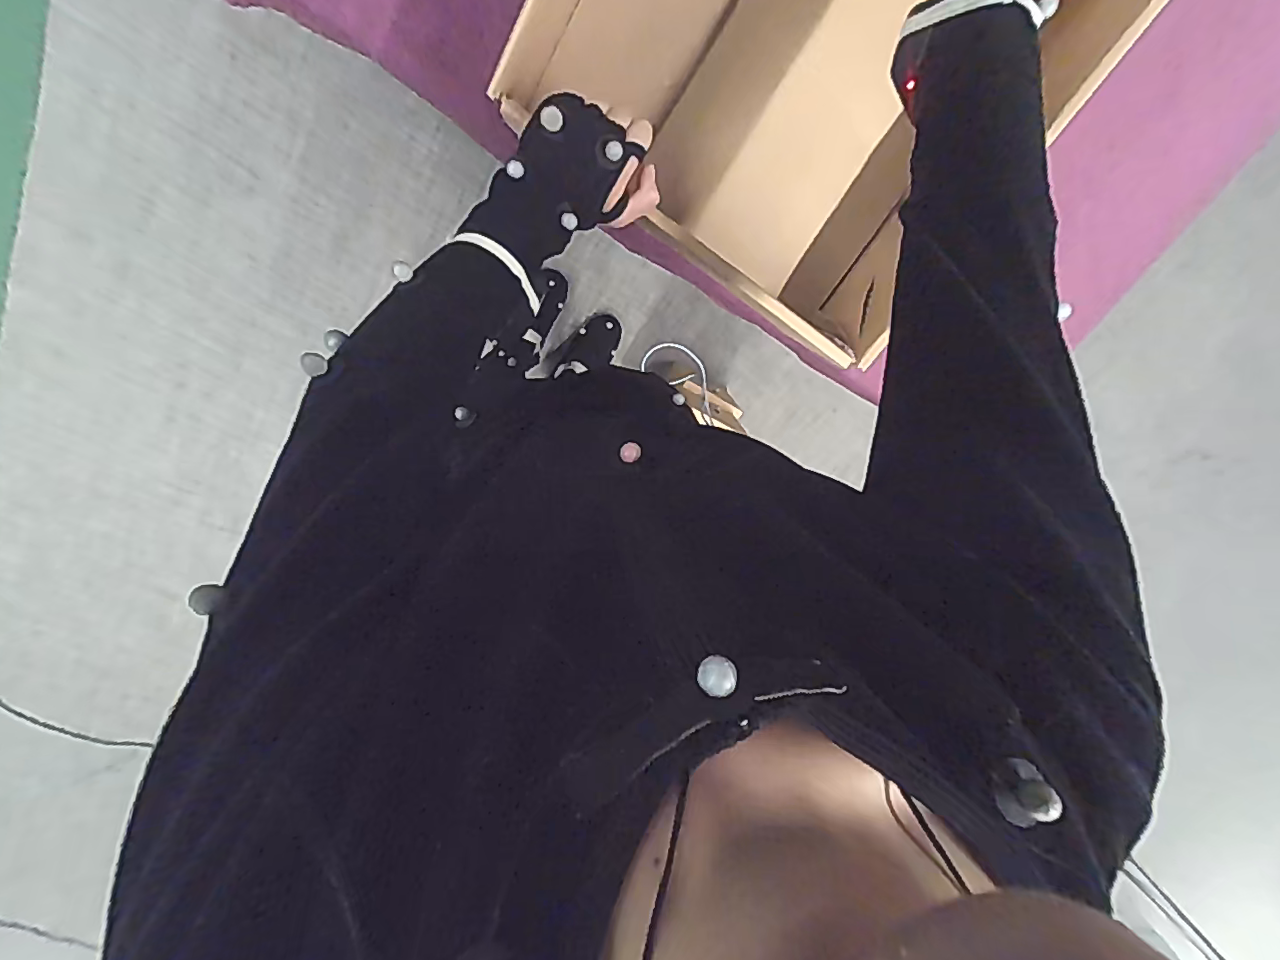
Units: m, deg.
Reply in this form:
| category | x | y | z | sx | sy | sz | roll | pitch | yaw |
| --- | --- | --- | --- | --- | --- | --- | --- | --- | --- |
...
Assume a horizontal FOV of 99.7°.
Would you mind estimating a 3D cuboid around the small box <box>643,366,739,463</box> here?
| category | x | y | z | sx | sy | sz | roll | pitch | yaw |
| --- | --- | --- | --- | --- | --- | --- | --- | --- | --- |
| small box | 0.126 | -0.179 | 1.423 | 0.179 | 0.176 | 0.168 | 27 | 111 | -19 |
